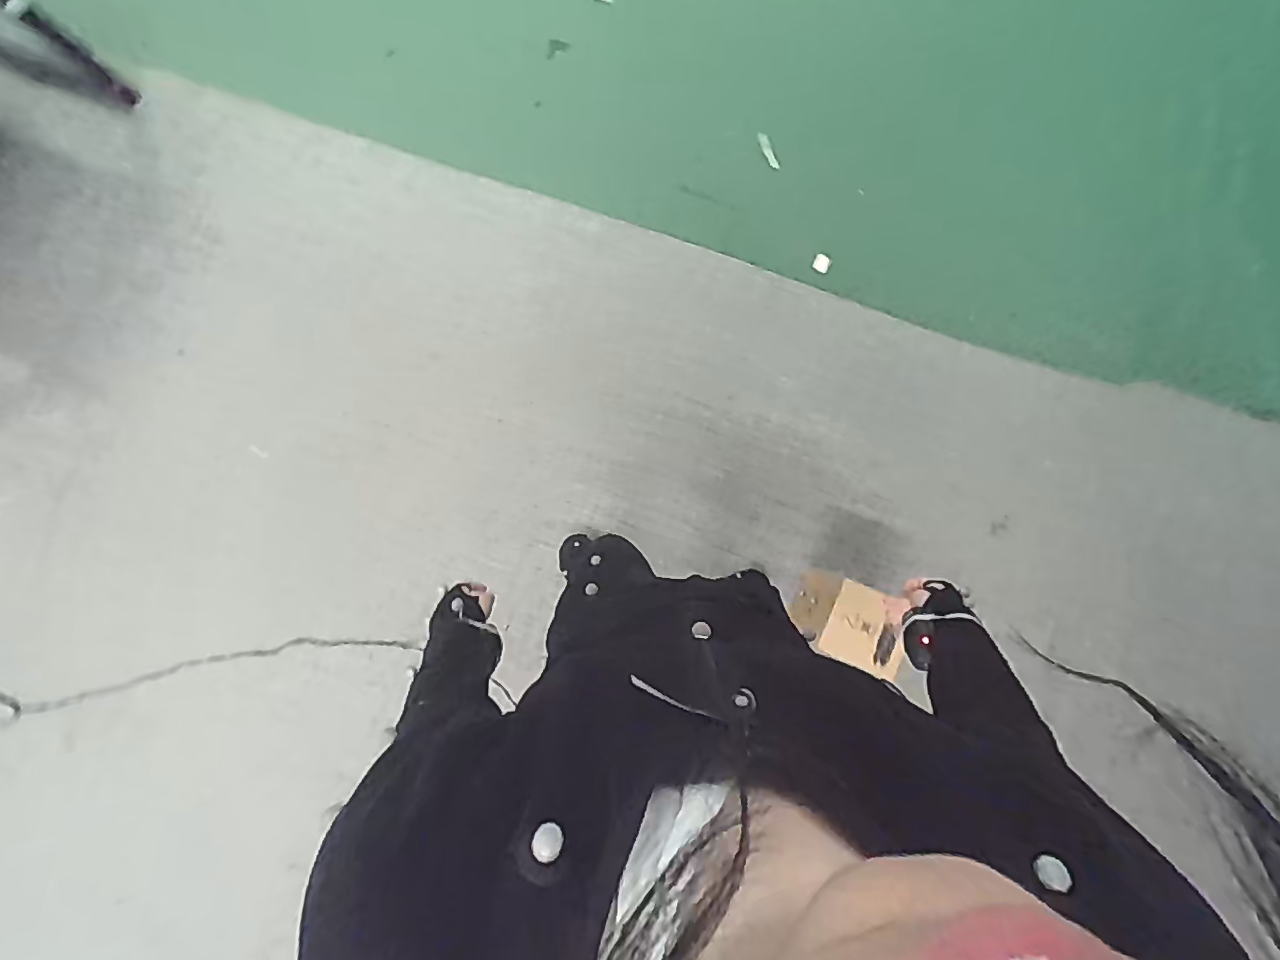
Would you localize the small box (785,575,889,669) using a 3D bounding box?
[{"bbox_3d":[0.497,0.357,1.393,0.179,0.176,0.168,27,87,5],"label":"small box"}]
